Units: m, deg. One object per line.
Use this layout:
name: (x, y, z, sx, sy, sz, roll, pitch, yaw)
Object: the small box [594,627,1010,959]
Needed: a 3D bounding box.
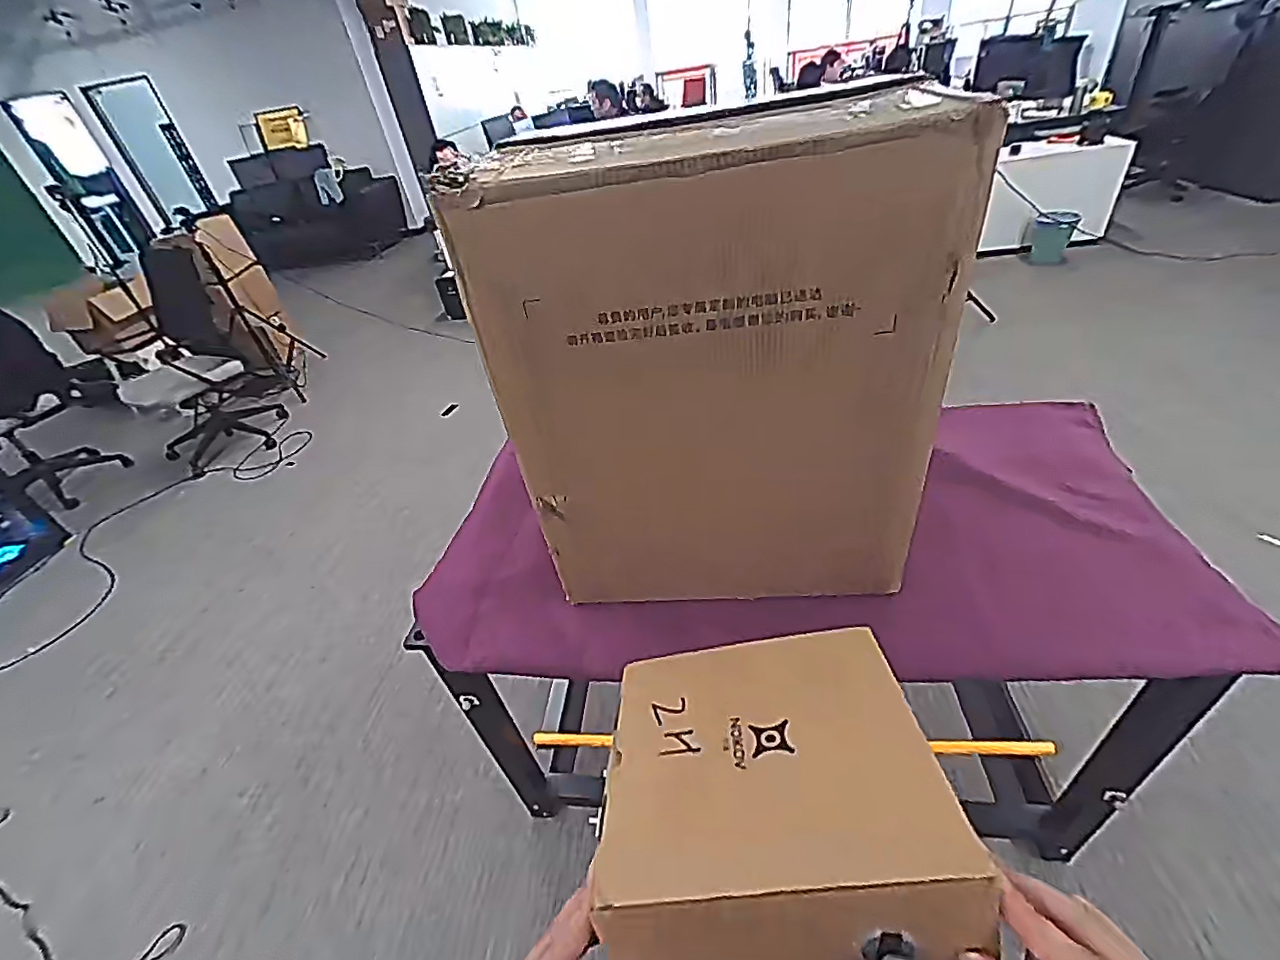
small box: (0.089, 0.218, 0.328, 0.179, 0.176, 0.168, -12, 19, 10)
